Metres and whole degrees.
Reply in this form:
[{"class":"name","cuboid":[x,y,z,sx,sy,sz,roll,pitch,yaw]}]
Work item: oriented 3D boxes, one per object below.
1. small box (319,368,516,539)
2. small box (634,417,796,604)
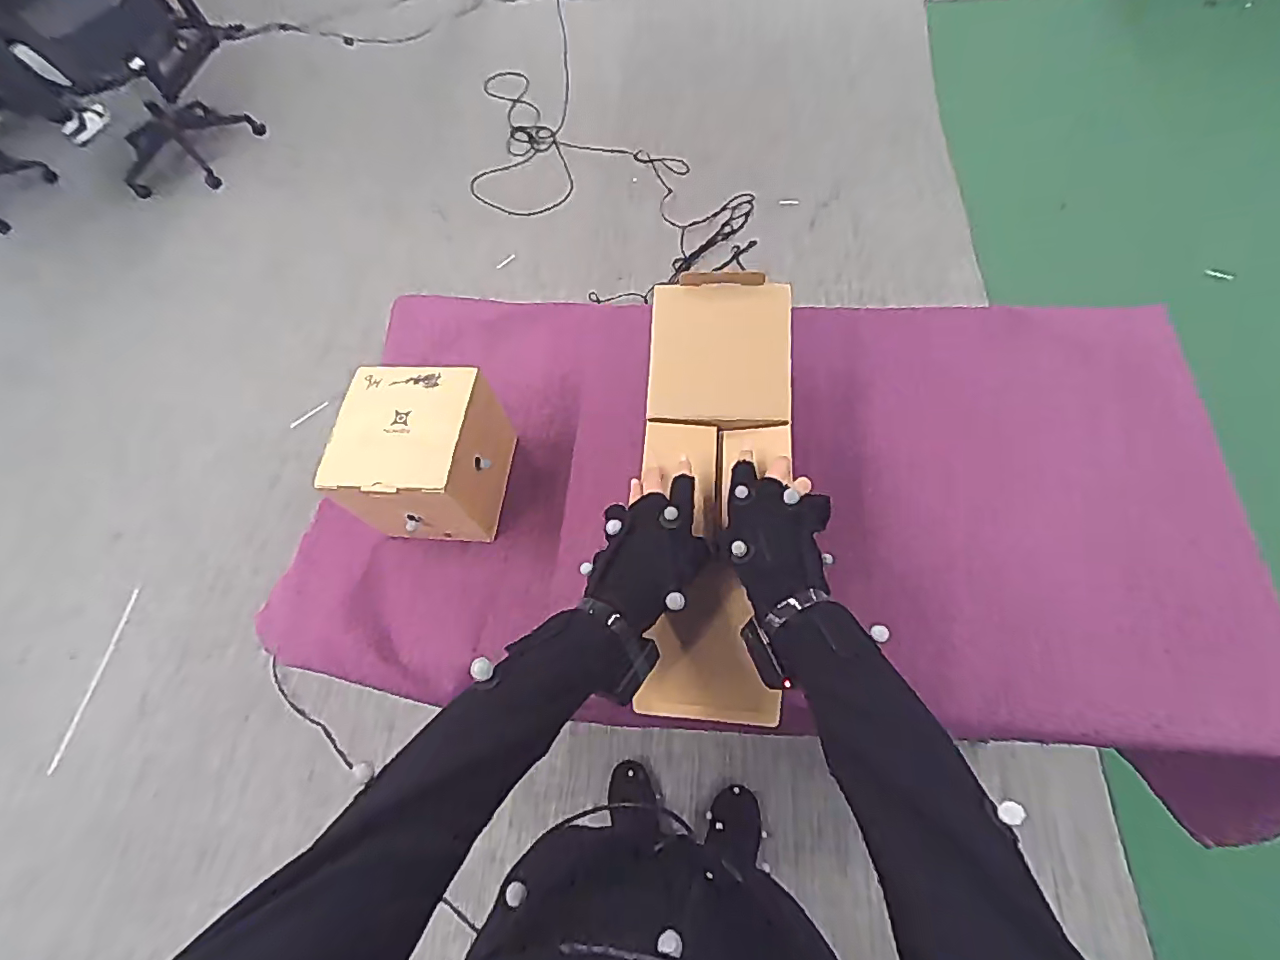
[{"class":"small box","cuboid":[-0.280,-0.029,0.727,0.168,0.176,0.179,2,64,7]},{"class":"small box","cuboid":[0.090,0.044,0.648,0.168,0.176,0.179,2,64,7]}]
